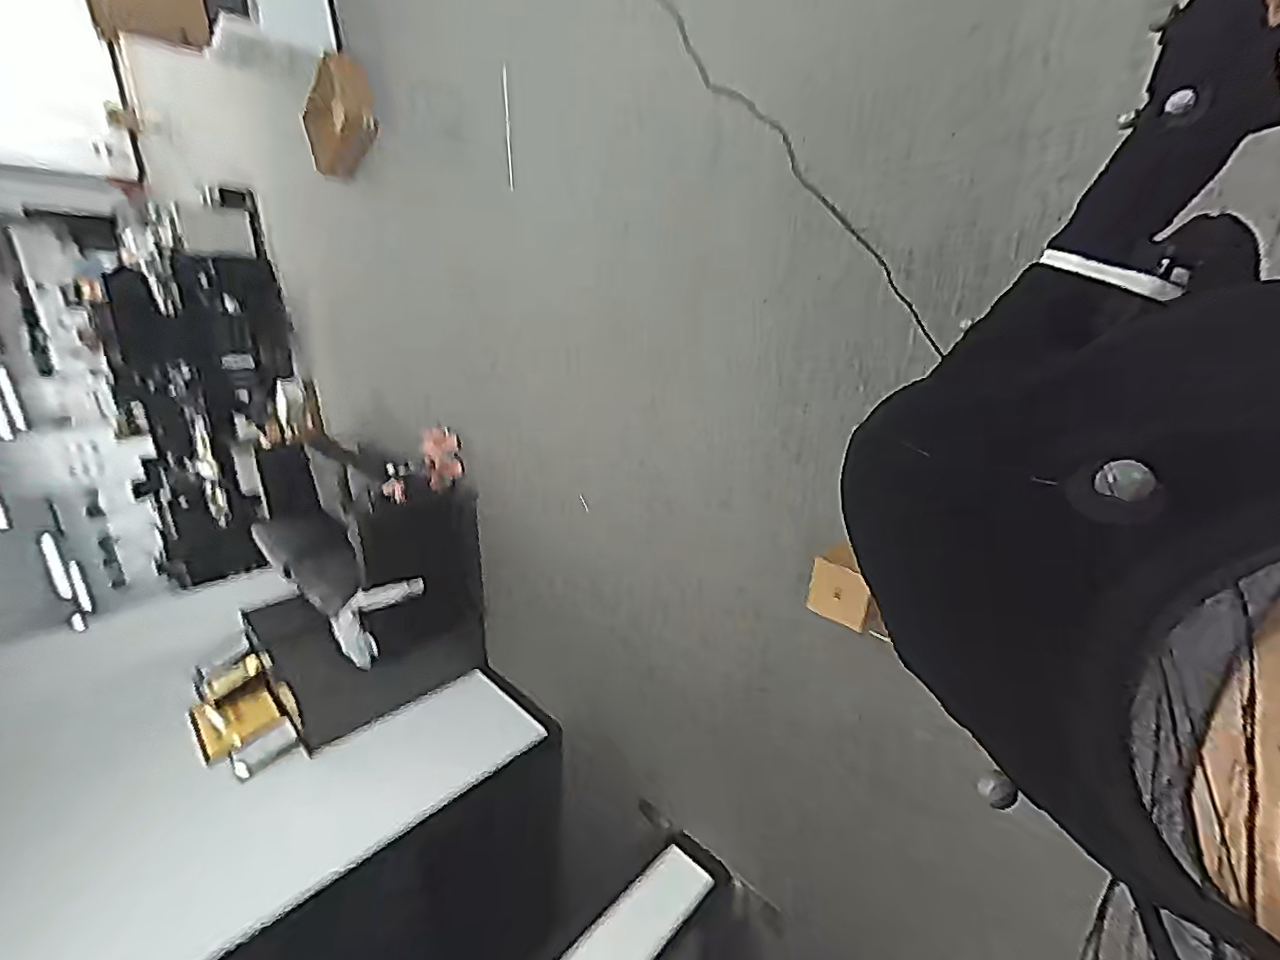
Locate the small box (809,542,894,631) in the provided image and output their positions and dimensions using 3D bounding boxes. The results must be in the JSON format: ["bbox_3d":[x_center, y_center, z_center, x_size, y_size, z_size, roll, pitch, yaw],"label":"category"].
[{"bbox_3d":[0.622,0.304,1.586,0.168,0.176,0.179,21,116,40],"label":"small box"}]
